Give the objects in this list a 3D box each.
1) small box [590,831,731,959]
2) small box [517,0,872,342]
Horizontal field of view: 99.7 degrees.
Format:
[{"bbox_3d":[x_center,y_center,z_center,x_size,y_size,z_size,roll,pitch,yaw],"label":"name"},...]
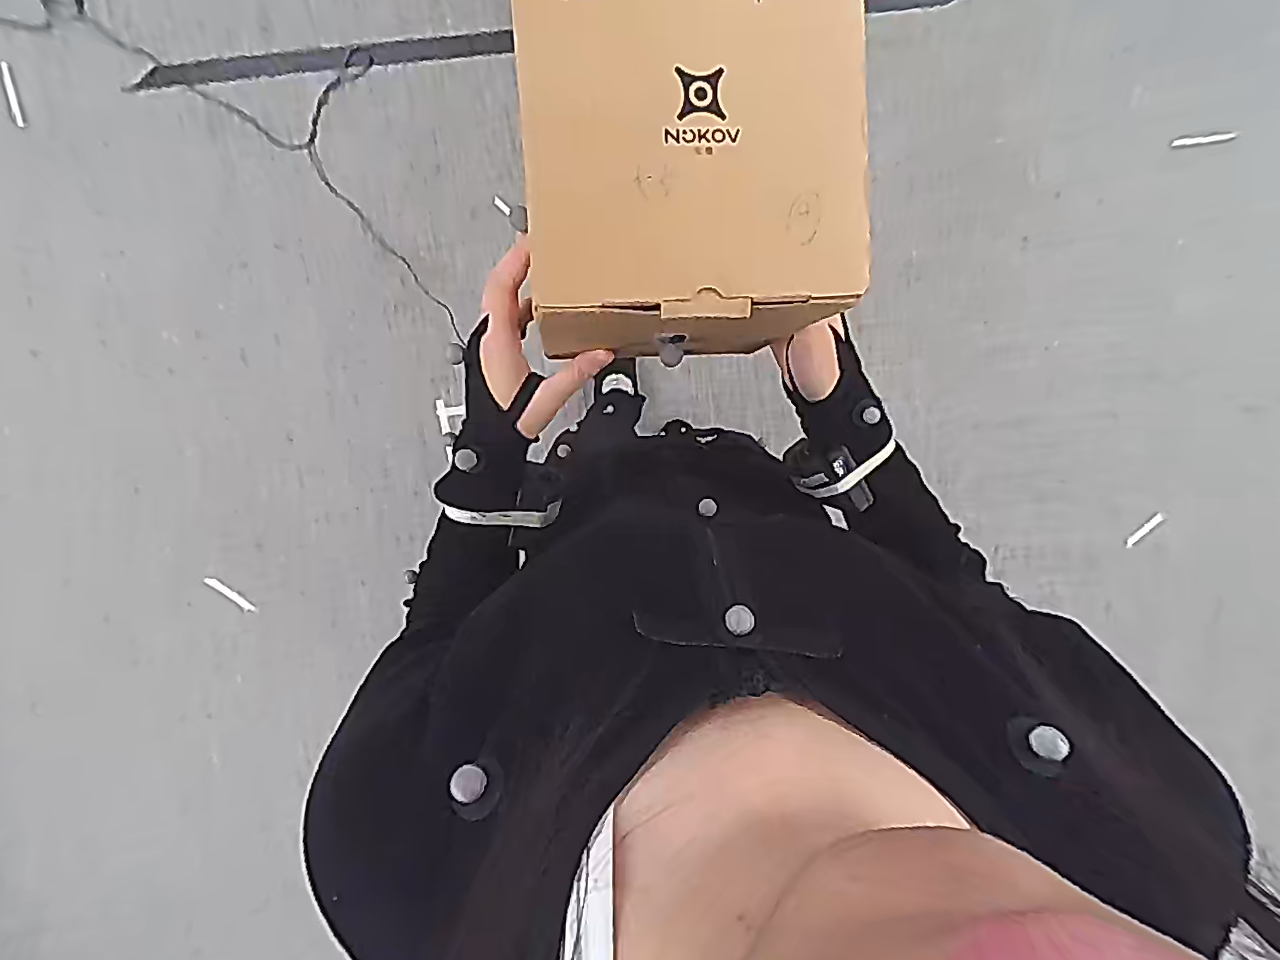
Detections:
[{"bbox_3d":[0.027,0.597,0.712,0.168,0.176,0.179,-5,100,0],"label":"small box"},{"bbox_3d":[0.018,-0.181,0.328,0.168,0.176,0.179,-3,96,-8],"label":"small box"}]
